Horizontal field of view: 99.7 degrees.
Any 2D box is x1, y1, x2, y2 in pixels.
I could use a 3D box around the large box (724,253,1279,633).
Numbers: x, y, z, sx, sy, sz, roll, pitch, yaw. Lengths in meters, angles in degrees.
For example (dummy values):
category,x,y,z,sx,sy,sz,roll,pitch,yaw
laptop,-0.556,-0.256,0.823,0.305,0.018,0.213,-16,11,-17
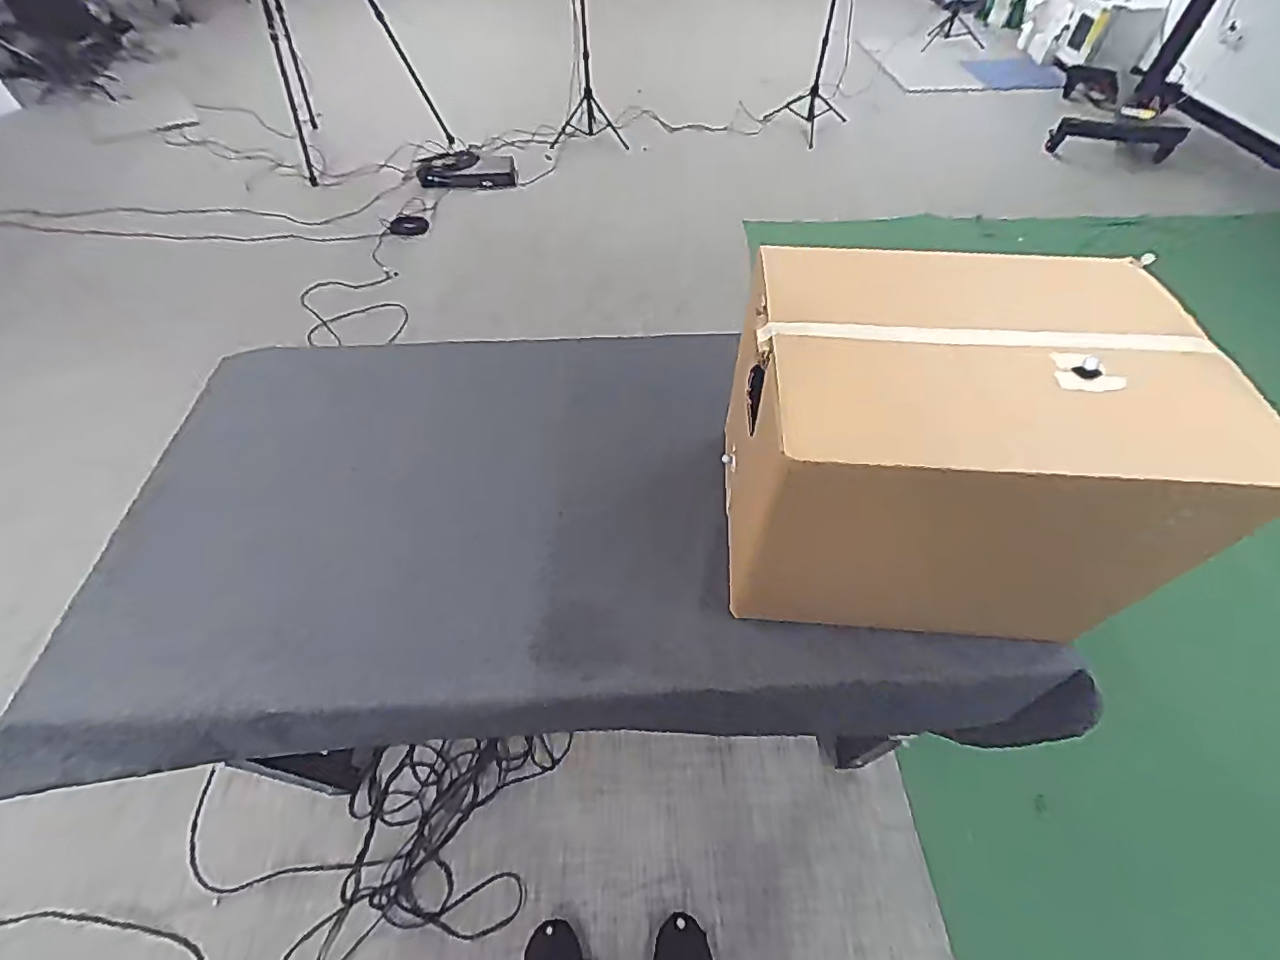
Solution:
category,x,y,z,sx,sy,sz,roll,pitch,yaw
large box,0.322,-0.034,0.627,0.408,0.320,0.320,4,53,2
